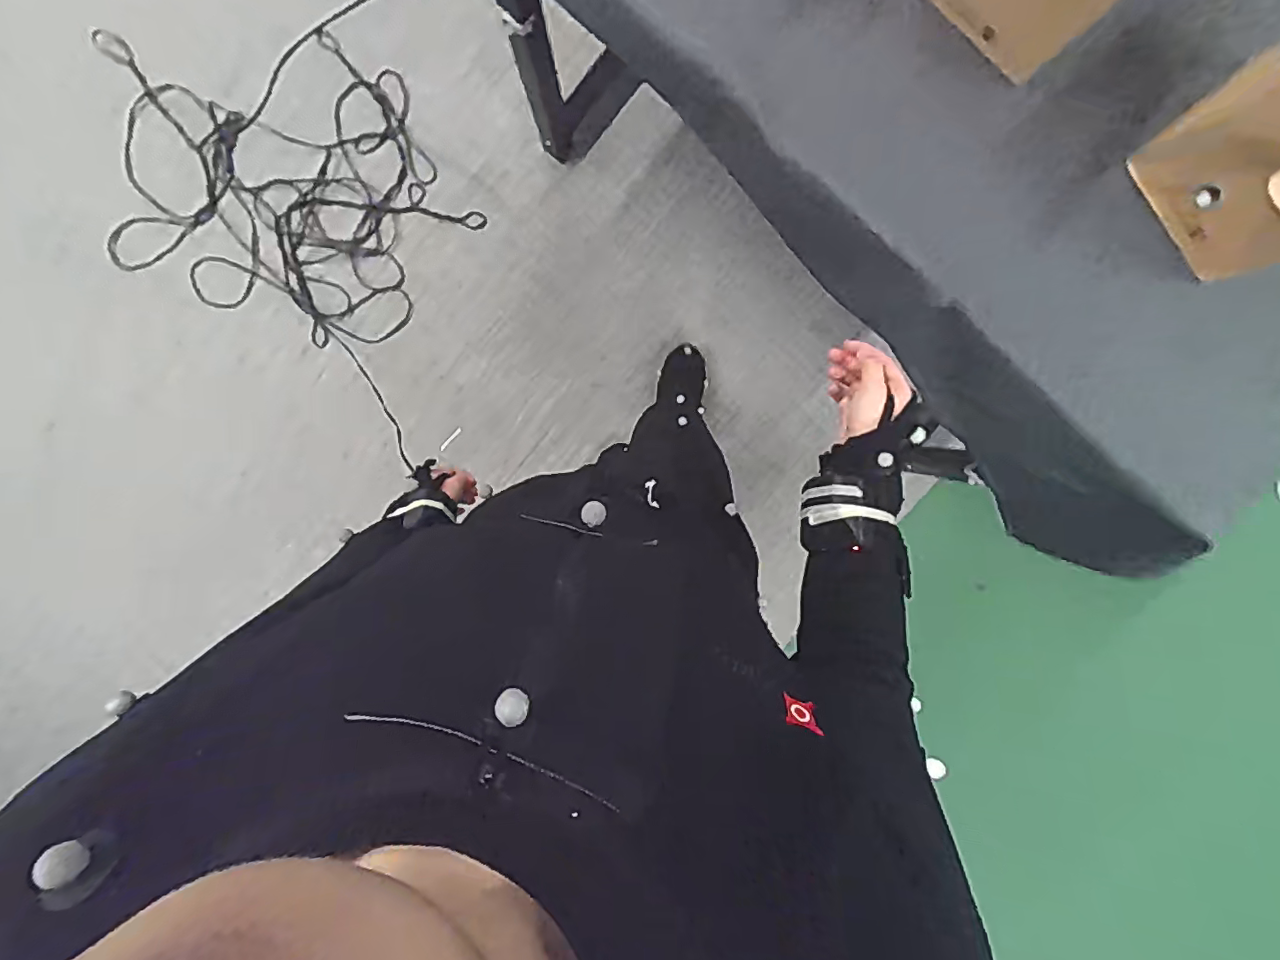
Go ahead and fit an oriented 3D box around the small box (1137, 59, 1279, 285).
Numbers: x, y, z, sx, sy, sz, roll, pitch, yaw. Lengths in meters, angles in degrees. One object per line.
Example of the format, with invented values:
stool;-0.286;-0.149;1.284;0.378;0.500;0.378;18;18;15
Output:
small box;0.655;-0.320;0.517;0.179;0.176;0.168;-38;96;3
